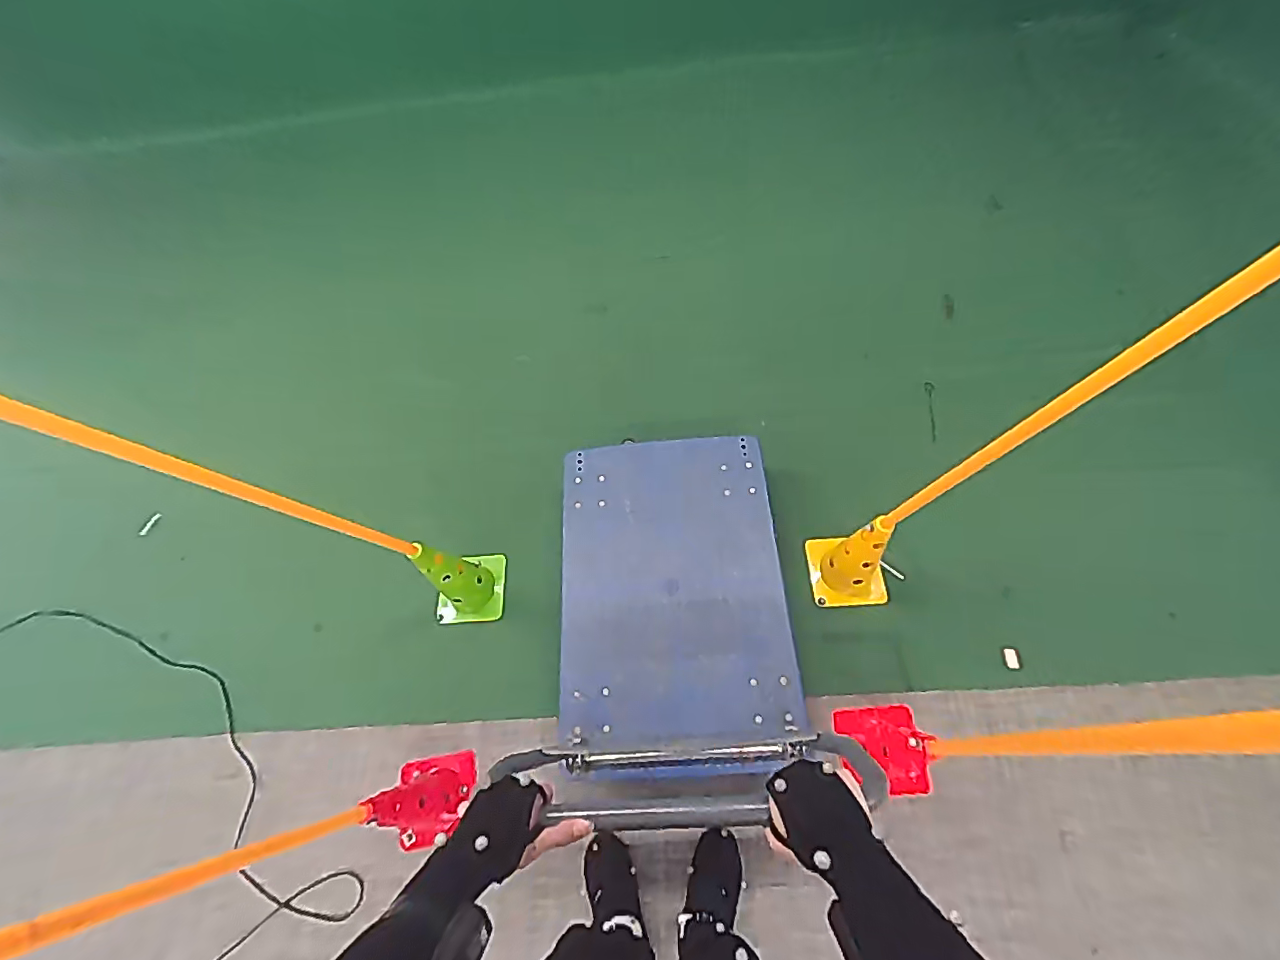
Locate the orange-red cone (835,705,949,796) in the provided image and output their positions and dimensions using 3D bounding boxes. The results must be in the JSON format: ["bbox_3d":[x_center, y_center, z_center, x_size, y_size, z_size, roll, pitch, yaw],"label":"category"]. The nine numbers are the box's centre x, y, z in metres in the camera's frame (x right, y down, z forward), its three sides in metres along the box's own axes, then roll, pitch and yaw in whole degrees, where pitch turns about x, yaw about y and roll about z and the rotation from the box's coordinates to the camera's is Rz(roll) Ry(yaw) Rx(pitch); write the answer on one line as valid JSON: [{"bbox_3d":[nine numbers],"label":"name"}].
[{"bbox_3d":[0.573,0.575,1.166,0.198,0.360,0.199,-4,61,3],"label":"orange-red cone"}]

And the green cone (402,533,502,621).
[{"bbox_3d":[-0.530,0.234,1.455,0.200,0.368,0.202,-5,62,4],"label":"green cone"}]
